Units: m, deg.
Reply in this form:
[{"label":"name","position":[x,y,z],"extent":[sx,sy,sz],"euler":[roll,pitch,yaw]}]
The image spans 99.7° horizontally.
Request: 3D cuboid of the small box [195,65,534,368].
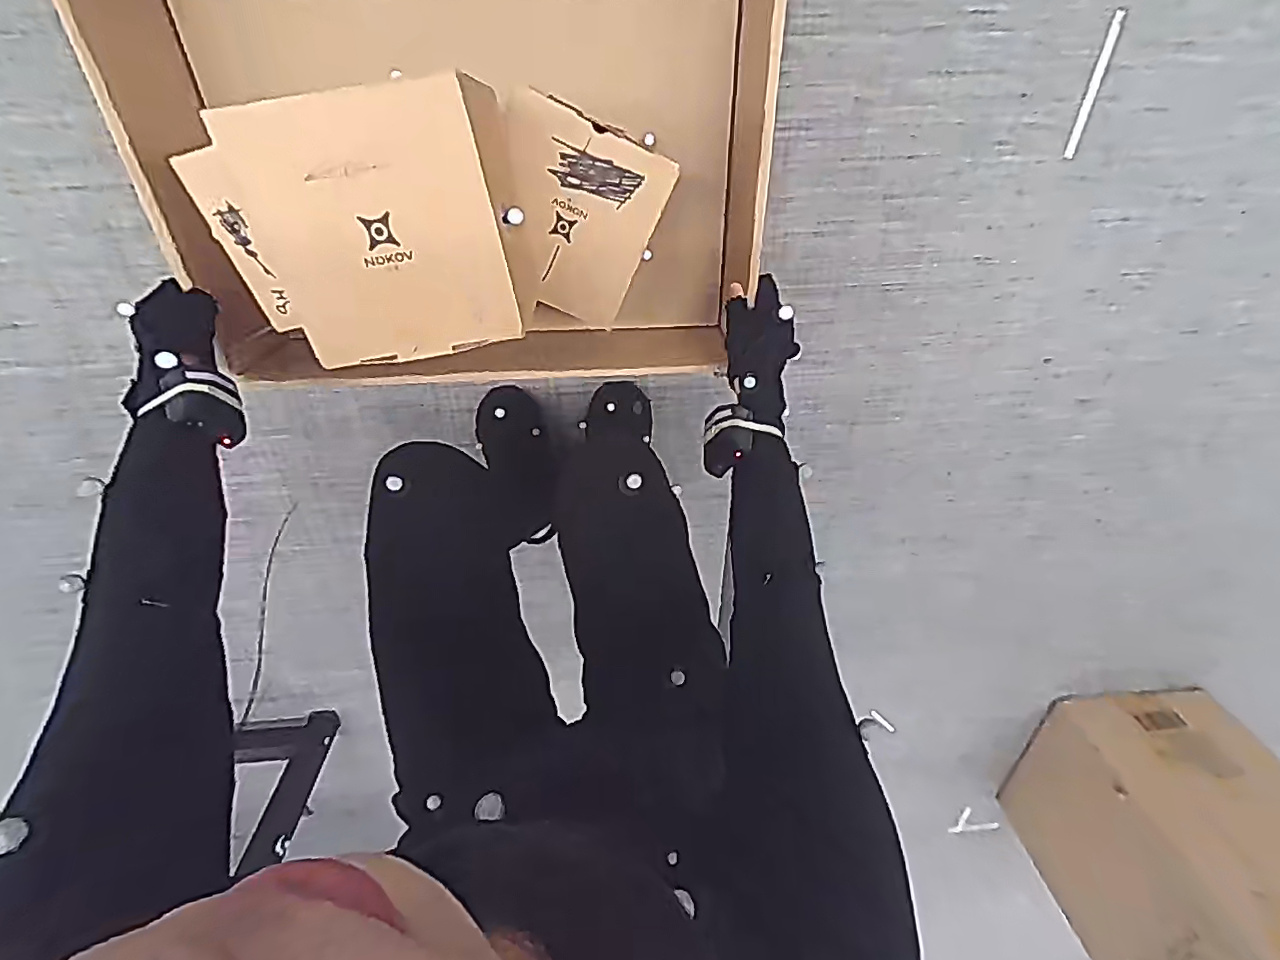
[{"label":"small box","position":[-0.190,-0.214,0.445],"extent":[0.168,0.176,0.179],"euler":[-10,122,0]}]
